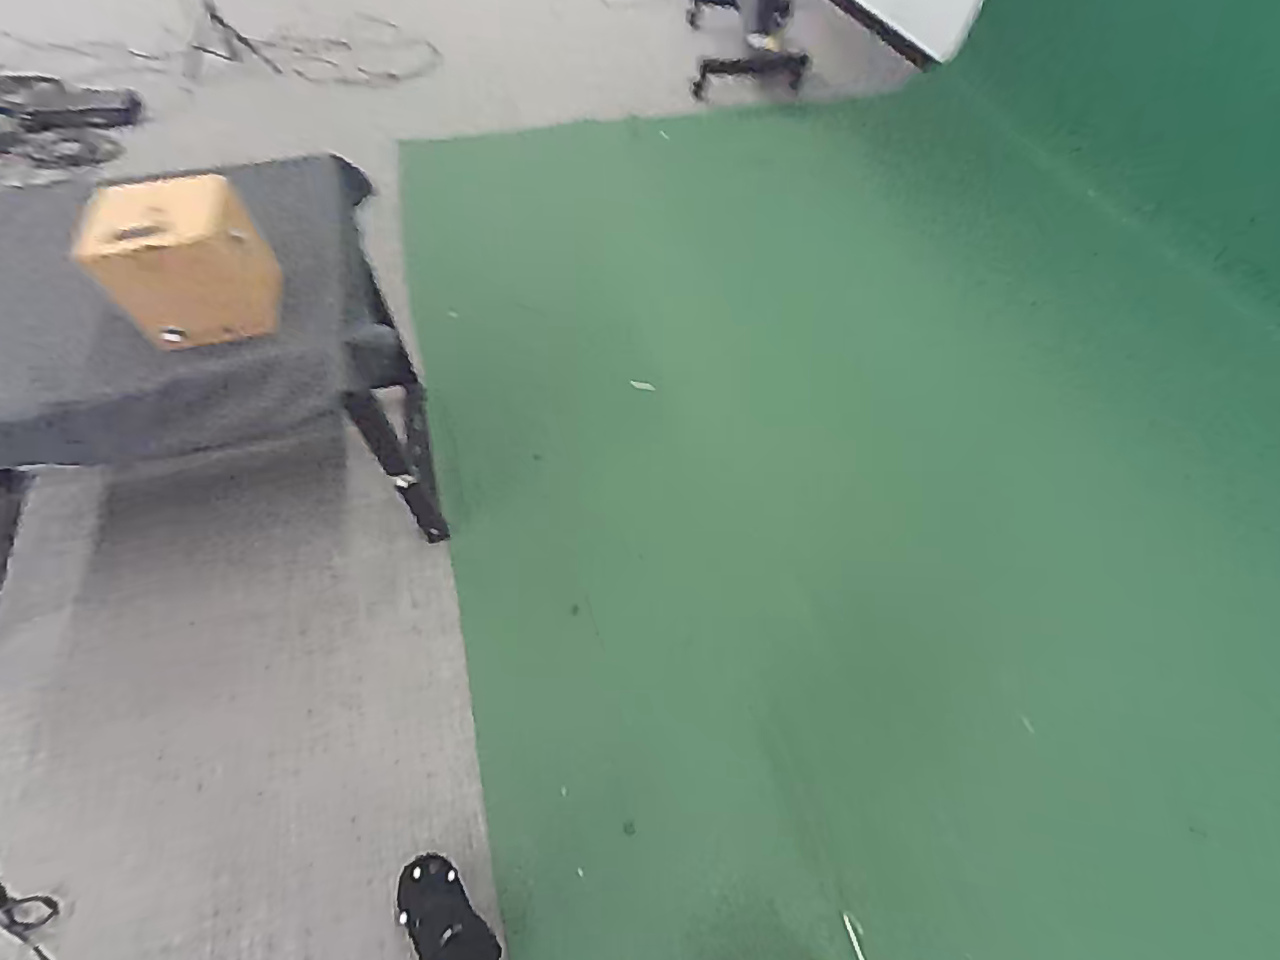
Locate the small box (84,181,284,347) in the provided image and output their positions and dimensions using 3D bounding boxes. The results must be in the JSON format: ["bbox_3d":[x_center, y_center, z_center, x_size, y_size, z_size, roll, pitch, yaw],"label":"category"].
[{"bbox_3d":[-0.681,-0.325,0.835,0.168,0.176,0.179,-14,57,-11],"label":"small box"}]
